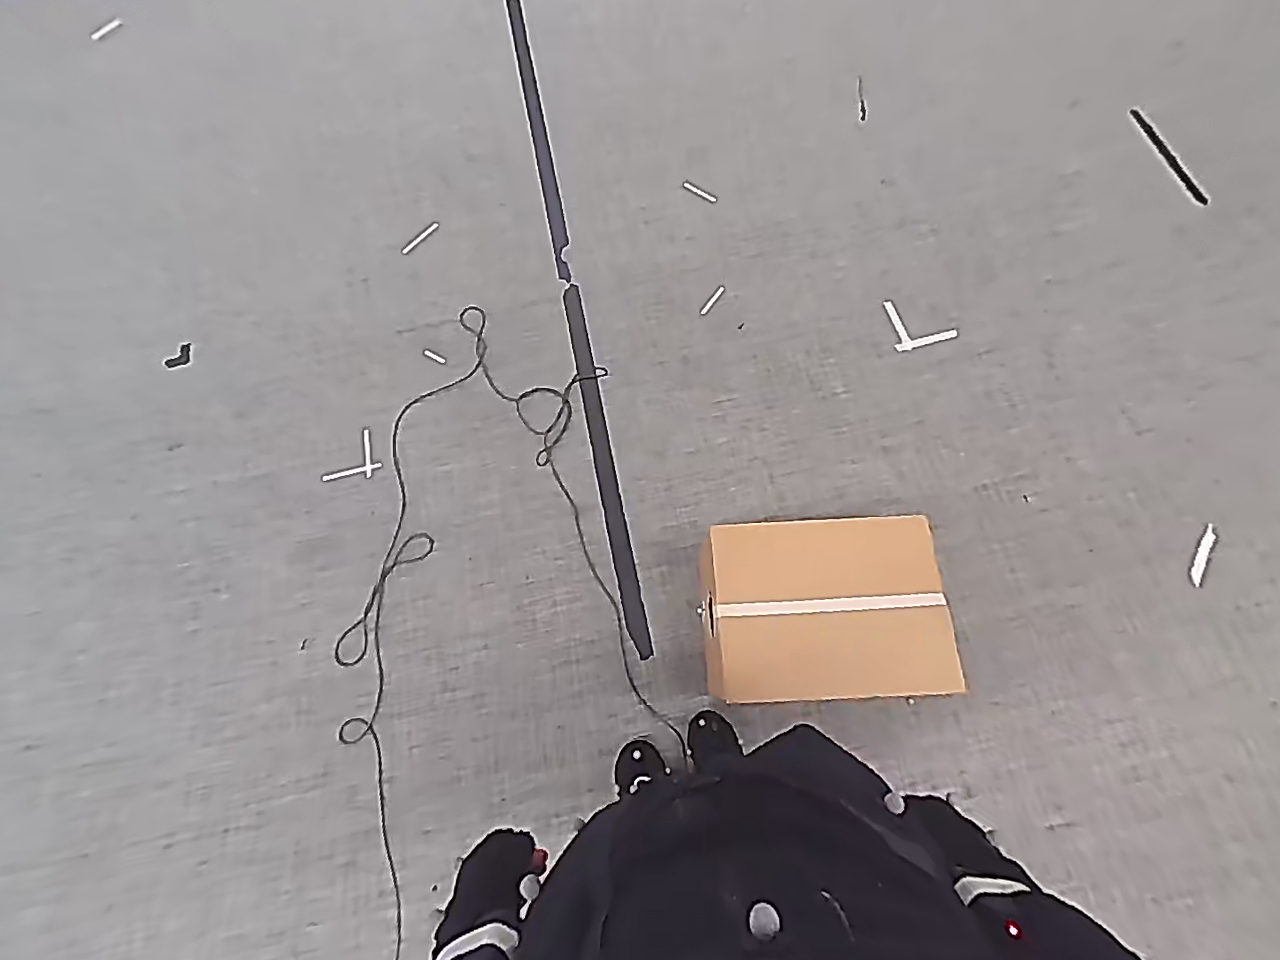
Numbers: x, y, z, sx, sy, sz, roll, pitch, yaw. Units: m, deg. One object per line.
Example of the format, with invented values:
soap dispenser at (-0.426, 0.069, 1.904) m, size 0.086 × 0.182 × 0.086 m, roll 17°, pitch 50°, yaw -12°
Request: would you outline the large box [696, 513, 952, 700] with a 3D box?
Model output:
large box at (0.334, 0.265, 1.109) m, size 0.408 × 0.320 × 0.320 m, roll -3°, pitch 70°, yaw 1°
